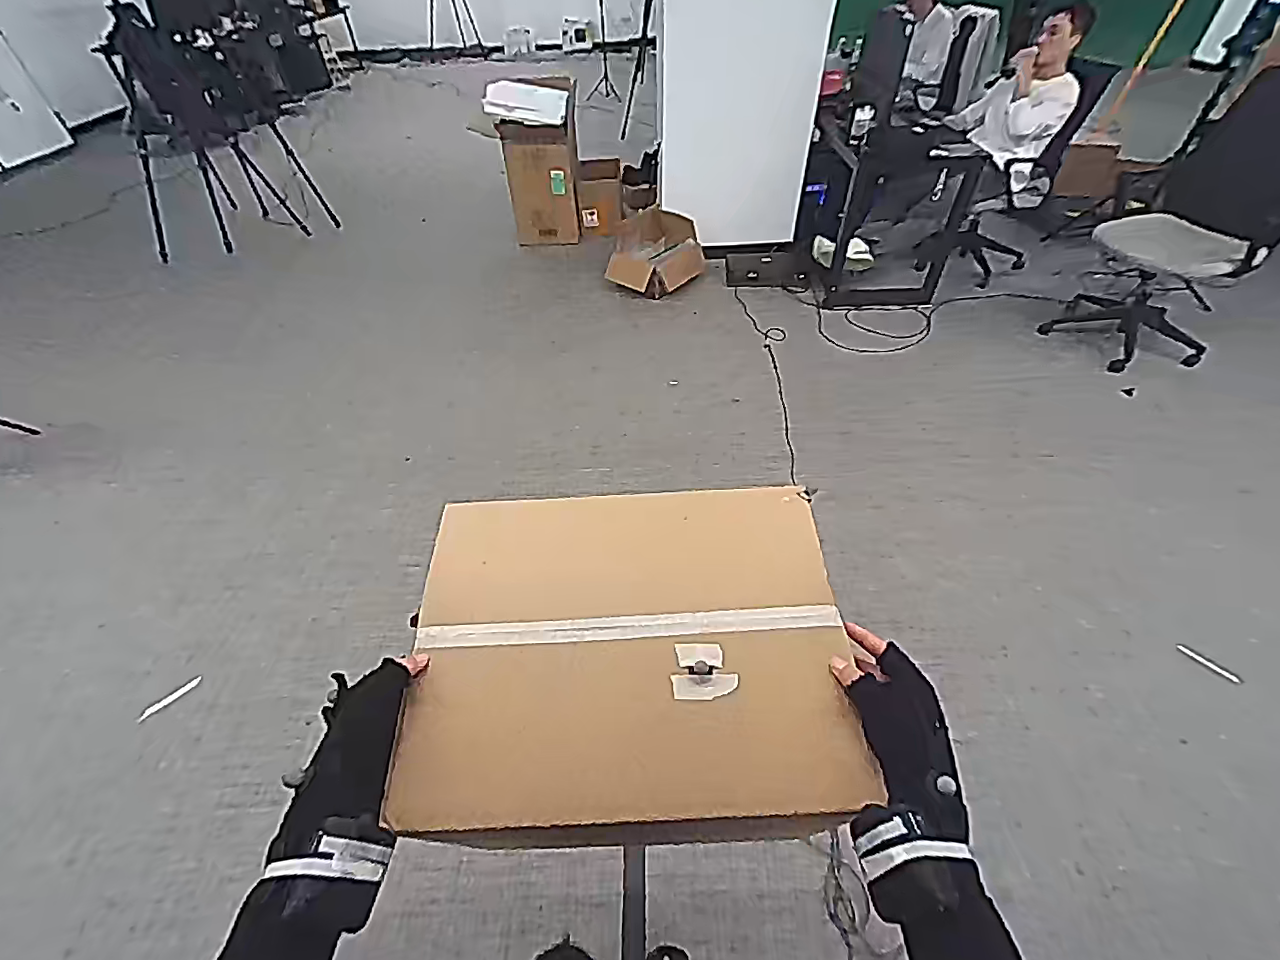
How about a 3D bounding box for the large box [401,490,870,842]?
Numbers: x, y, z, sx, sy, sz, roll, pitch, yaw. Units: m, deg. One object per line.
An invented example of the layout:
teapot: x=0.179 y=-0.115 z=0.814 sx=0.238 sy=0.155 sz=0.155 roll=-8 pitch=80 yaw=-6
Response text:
large box: x=-0.007 y=0.235 z=0.655 sx=0.408 sy=0.320 sz=0.320 roll=-3 pitch=54 yaw=0
